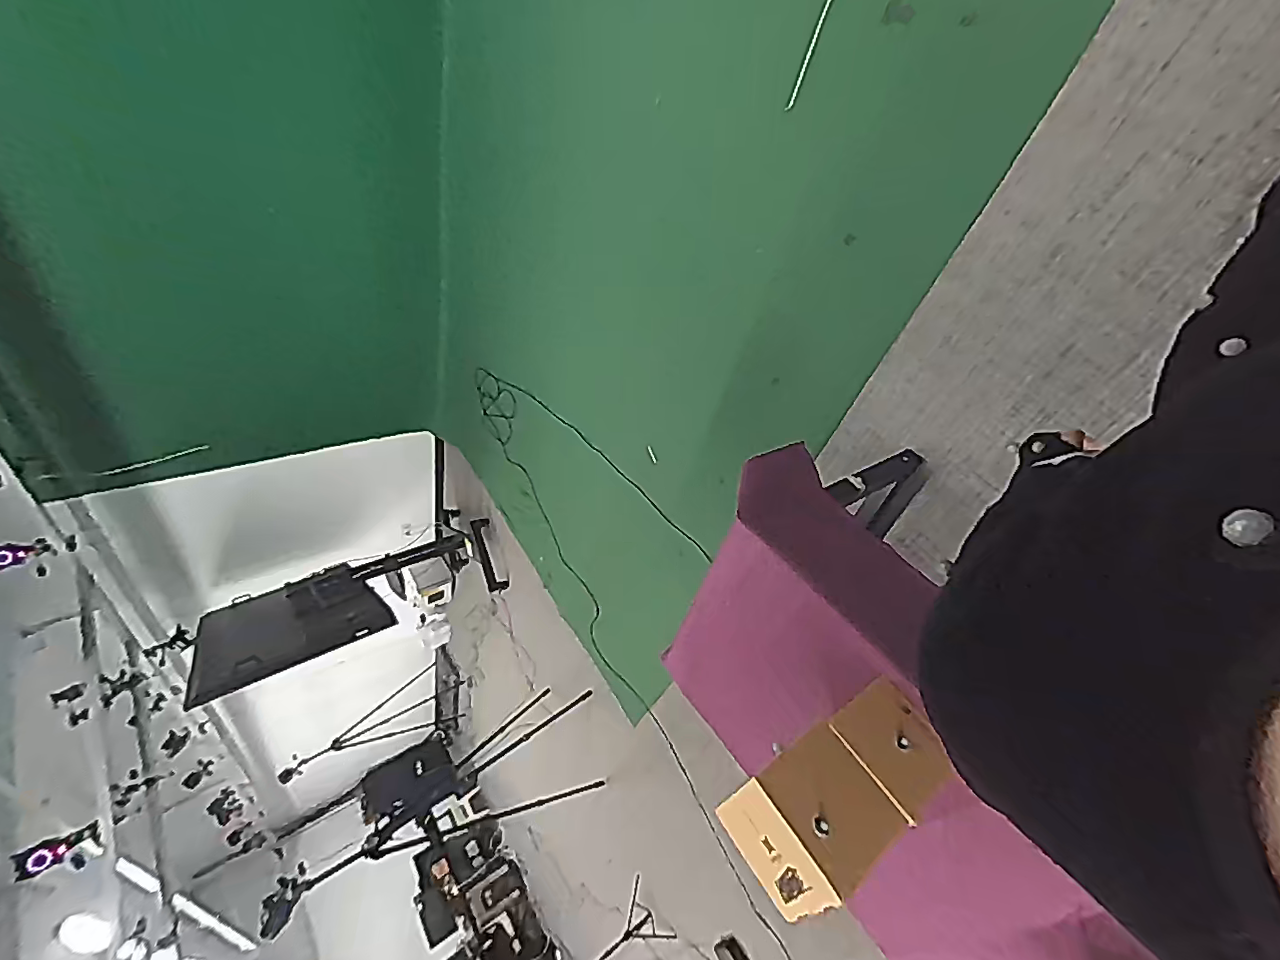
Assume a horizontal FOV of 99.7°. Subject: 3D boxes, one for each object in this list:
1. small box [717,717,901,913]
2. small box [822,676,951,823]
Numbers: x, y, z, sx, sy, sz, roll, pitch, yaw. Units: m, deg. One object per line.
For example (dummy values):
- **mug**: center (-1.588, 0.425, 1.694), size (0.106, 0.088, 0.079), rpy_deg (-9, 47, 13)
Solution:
- **small box**: center (0.257, 0.508, 0.831), size (0.179, 0.176, 0.168), rpy_deg (50, 139, 28)
- **small box**: center (0.390, 0.468, 0.921), size (0.168, 0.176, 0.179), rpy_deg (49, 139, 29)
